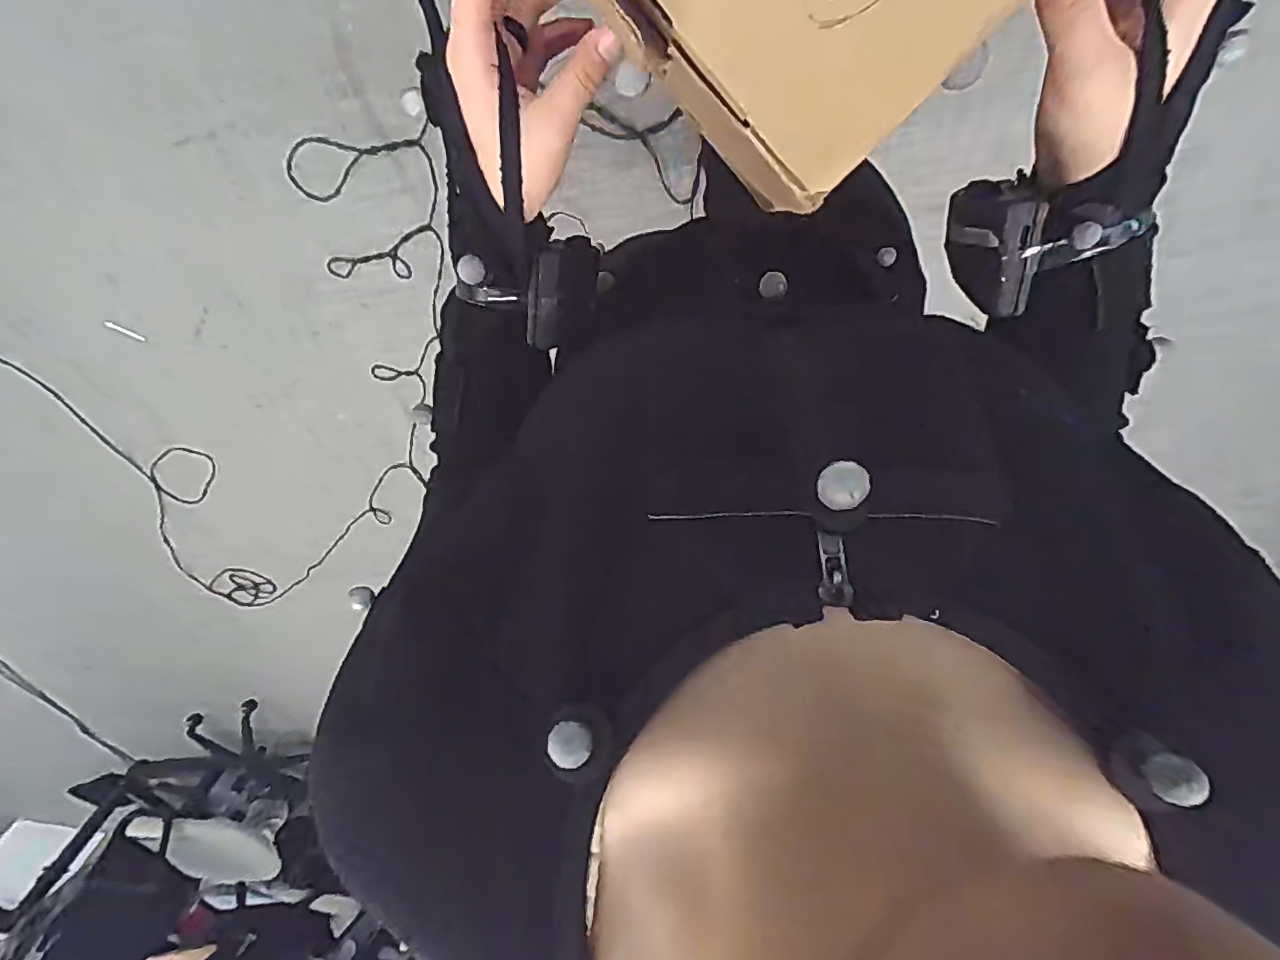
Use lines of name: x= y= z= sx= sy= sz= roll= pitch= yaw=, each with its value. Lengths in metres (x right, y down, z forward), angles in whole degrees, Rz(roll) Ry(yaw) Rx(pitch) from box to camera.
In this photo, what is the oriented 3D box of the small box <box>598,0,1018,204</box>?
small box: x=0.066 y=-0.225 z=0.188 sx=0.168 sy=0.176 sz=0.179 roll=43 pitch=115 yaw=-13
